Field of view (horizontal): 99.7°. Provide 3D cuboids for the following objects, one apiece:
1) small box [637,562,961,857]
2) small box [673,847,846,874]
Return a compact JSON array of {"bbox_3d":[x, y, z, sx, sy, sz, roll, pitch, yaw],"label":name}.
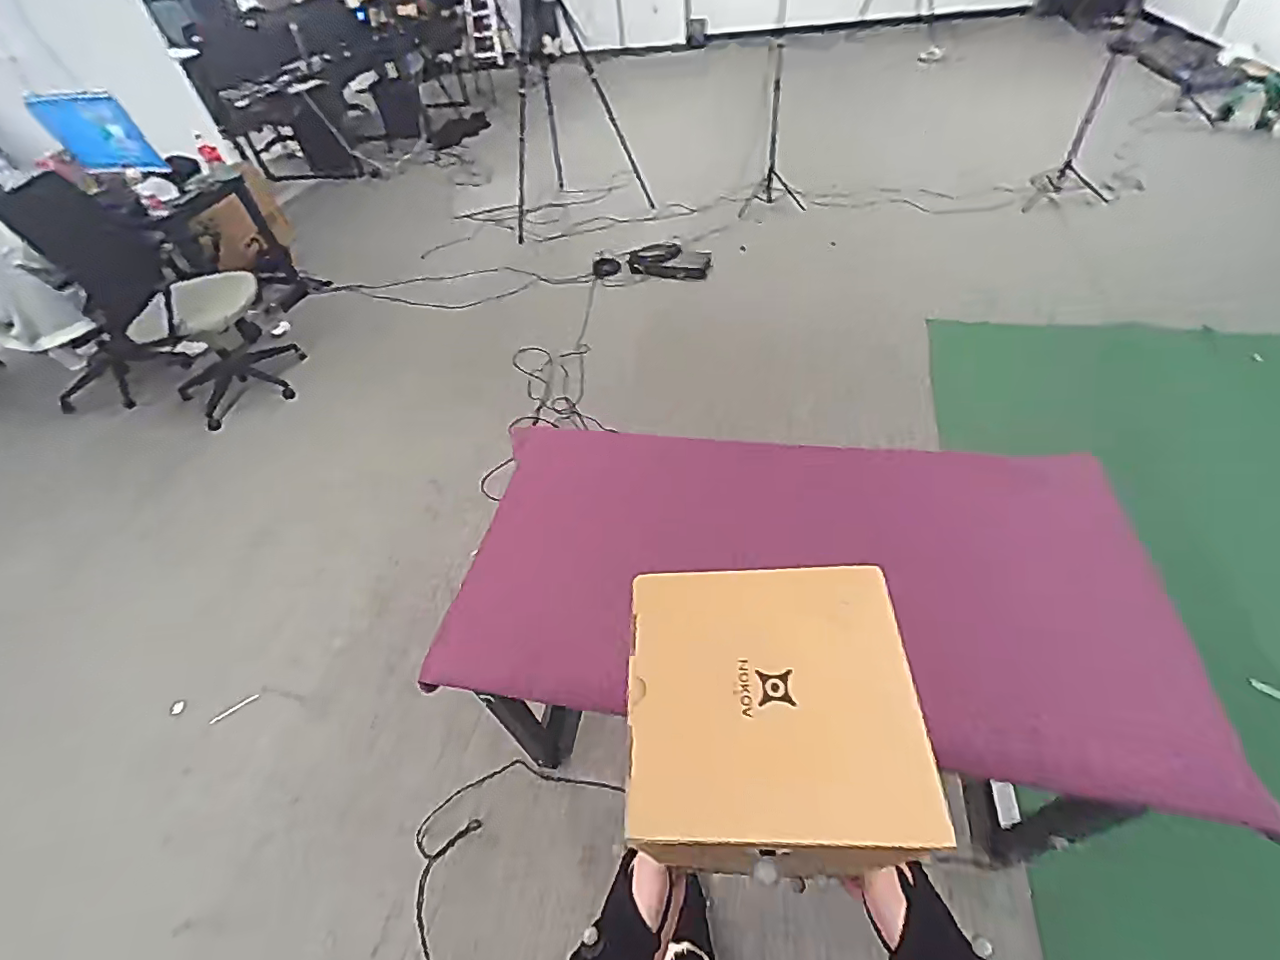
[{"bbox_3d":[0.096,0.174,0.402,0.179,0.176,0.168,-4,52,7],"label":"small box"},{"bbox_3d":[0.135,0.371,0.659,0.179,0.176,0.168,-2,51,8],"label":"small box"}]
